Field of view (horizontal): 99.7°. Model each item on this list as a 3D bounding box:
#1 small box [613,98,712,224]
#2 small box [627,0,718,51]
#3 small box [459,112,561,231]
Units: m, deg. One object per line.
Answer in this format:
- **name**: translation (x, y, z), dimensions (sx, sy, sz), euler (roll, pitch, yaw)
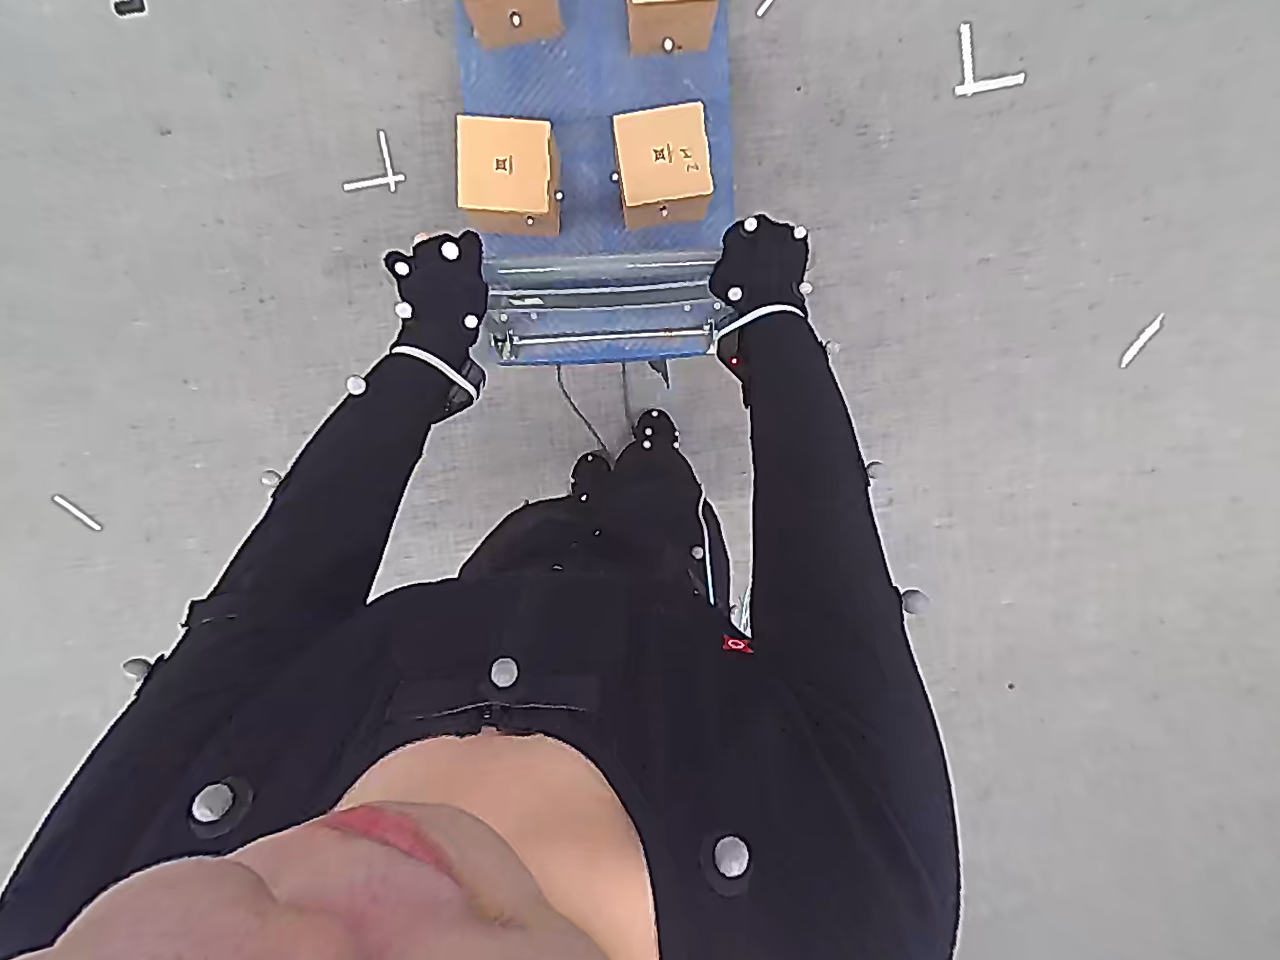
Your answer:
- **small box**: translation (0.044, -0.647, 1.117), dimensions (0.179, 0.176, 0.168), euler (-9, 100, 0)
- **small box**: translation (0.058, -0.990, 1.058), dimensions (0.168, 0.176, 0.179), euler (-5, 101, -1)
- **small box**: translation (-0.262, -0.625, 1.114), dimensions (0.179, 0.176, 0.168), euler (2, 99, -3)
